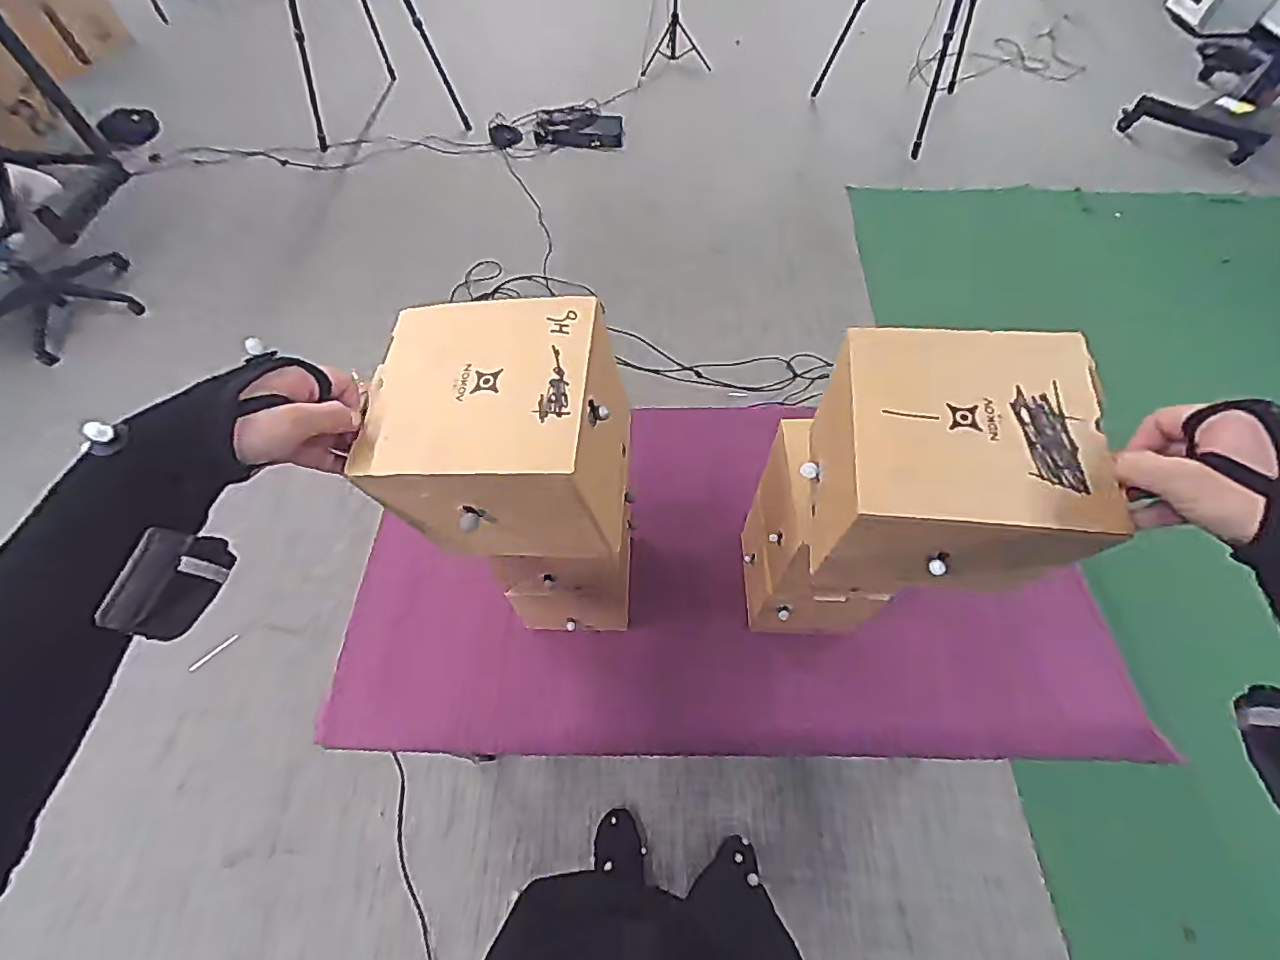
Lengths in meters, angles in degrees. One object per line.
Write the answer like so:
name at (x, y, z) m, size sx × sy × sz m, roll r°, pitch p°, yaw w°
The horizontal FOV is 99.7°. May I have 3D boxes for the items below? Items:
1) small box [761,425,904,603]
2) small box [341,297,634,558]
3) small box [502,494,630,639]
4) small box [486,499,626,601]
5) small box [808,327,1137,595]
small box at (0.257, 0.049, 0.692) m, size 0.168 × 0.176 × 0.179 m, roll 1°, pitch 57°, yaw 0°
small box at (-0.111, -0.036, 0.477) m, size 0.179 × 0.176 × 0.168 m, roll 0°, pitch 62°, yaw 10°
small box at (-0.102, 0.132, 0.835) m, size 0.168 × 0.176 × 0.179 m, roll 1°, pitch 58°, yaw 1°
small box at (-0.103, 0.043, 0.698) m, size 0.168 × 0.176 × 0.179 m, roll 0°, pitch 59°, yaw 0°
small box at (0.249, -0.006, 0.459) m, size 0.179 × 0.176 × 0.168 m, roll 5°, pitch 65°, yaw 8°
